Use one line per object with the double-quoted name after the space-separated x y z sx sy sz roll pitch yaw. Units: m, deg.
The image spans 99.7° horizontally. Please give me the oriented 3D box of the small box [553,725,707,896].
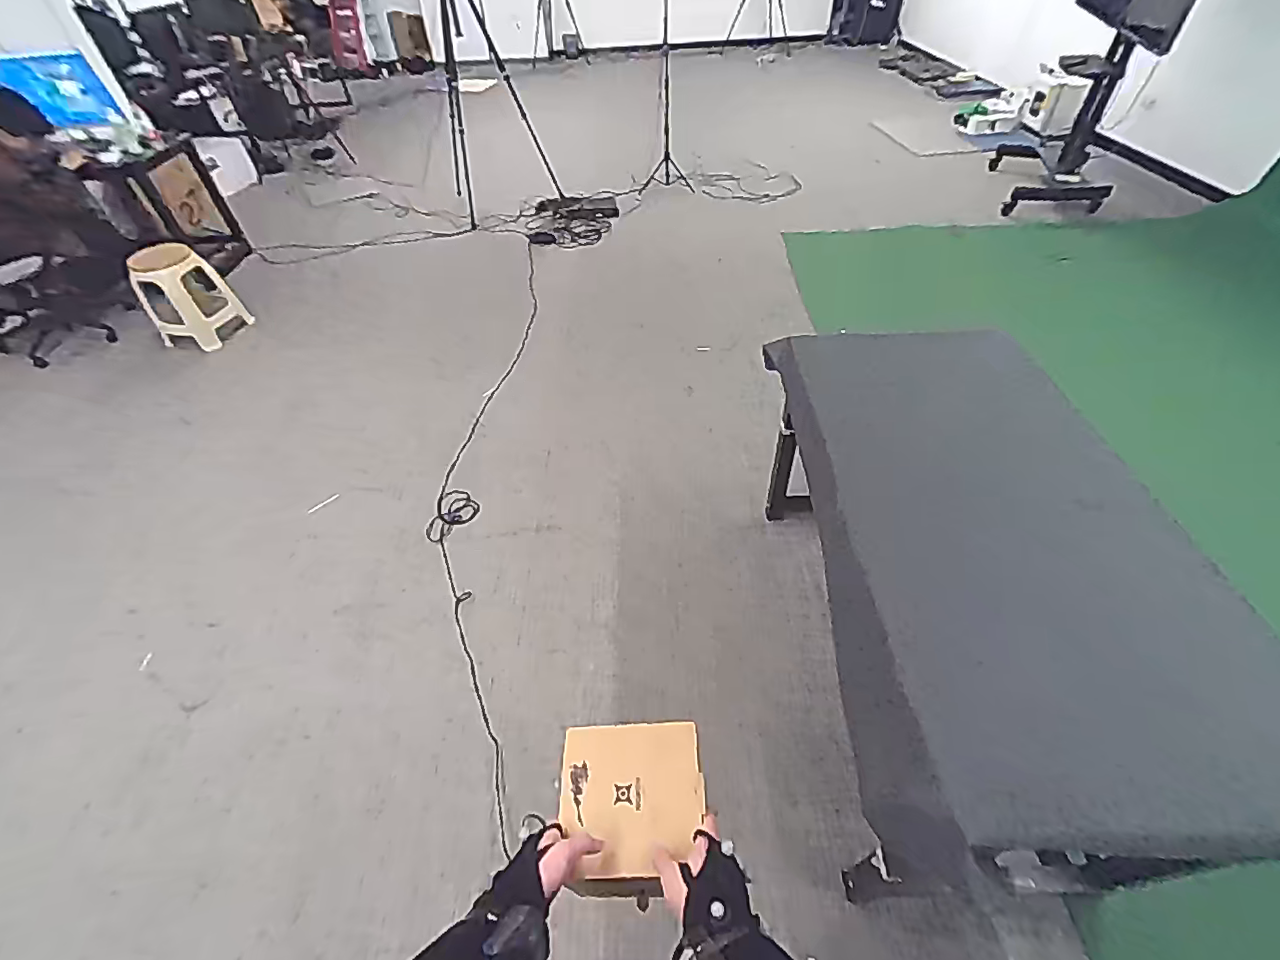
-0.004 0.436 0.714 0.179 0.176 0.168 -4 47 5 "small box"
